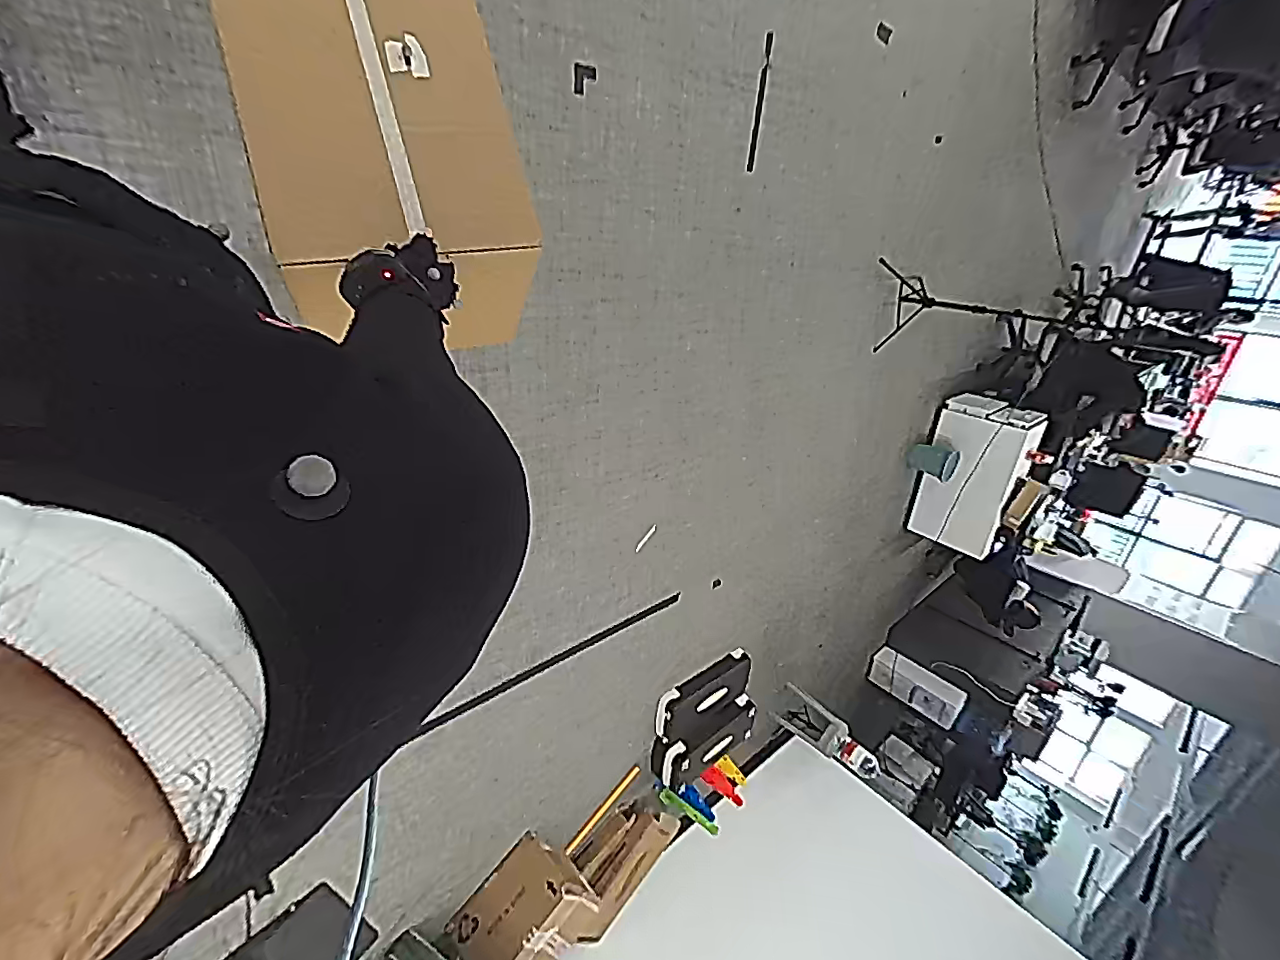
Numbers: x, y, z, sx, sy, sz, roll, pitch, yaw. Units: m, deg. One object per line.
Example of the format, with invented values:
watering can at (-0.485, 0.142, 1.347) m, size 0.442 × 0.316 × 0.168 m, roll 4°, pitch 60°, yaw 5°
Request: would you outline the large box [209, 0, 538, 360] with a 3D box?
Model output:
large box at (-0.382, -0.446, 0.825) m, size 0.320 × 0.320 × 0.408 m, roll -15°, pitch 85°, yaw -24°
